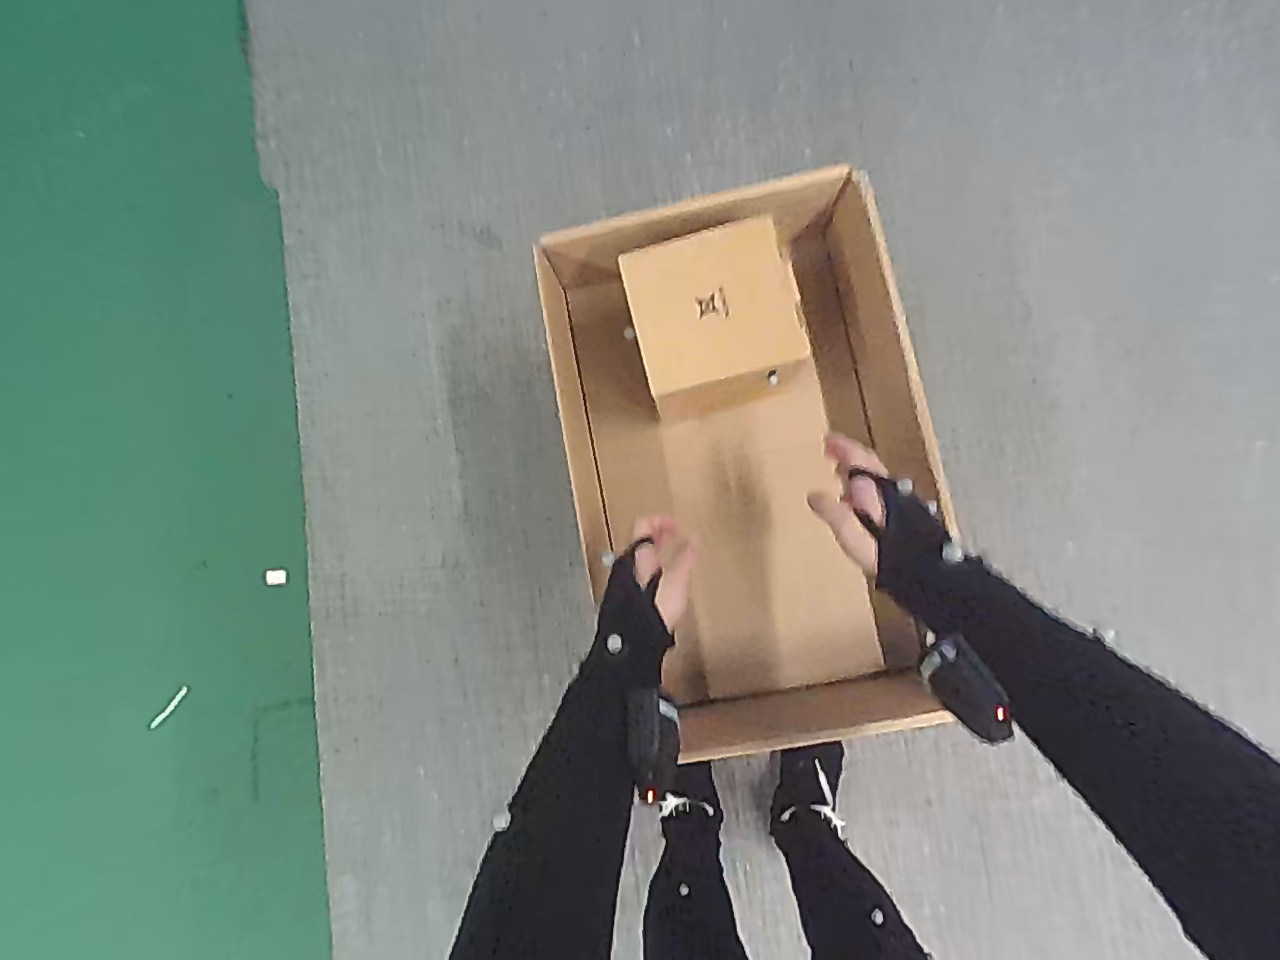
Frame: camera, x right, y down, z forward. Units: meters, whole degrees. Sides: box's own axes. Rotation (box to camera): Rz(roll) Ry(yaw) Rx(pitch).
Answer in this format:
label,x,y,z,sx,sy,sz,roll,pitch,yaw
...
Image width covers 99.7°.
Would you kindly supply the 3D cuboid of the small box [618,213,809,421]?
label,x,y,z,sx,sy,sz,roll,pitch,yaw
small box,0.084,-0.181,0.657,0.179,0.176,0.168,-14,84,3
